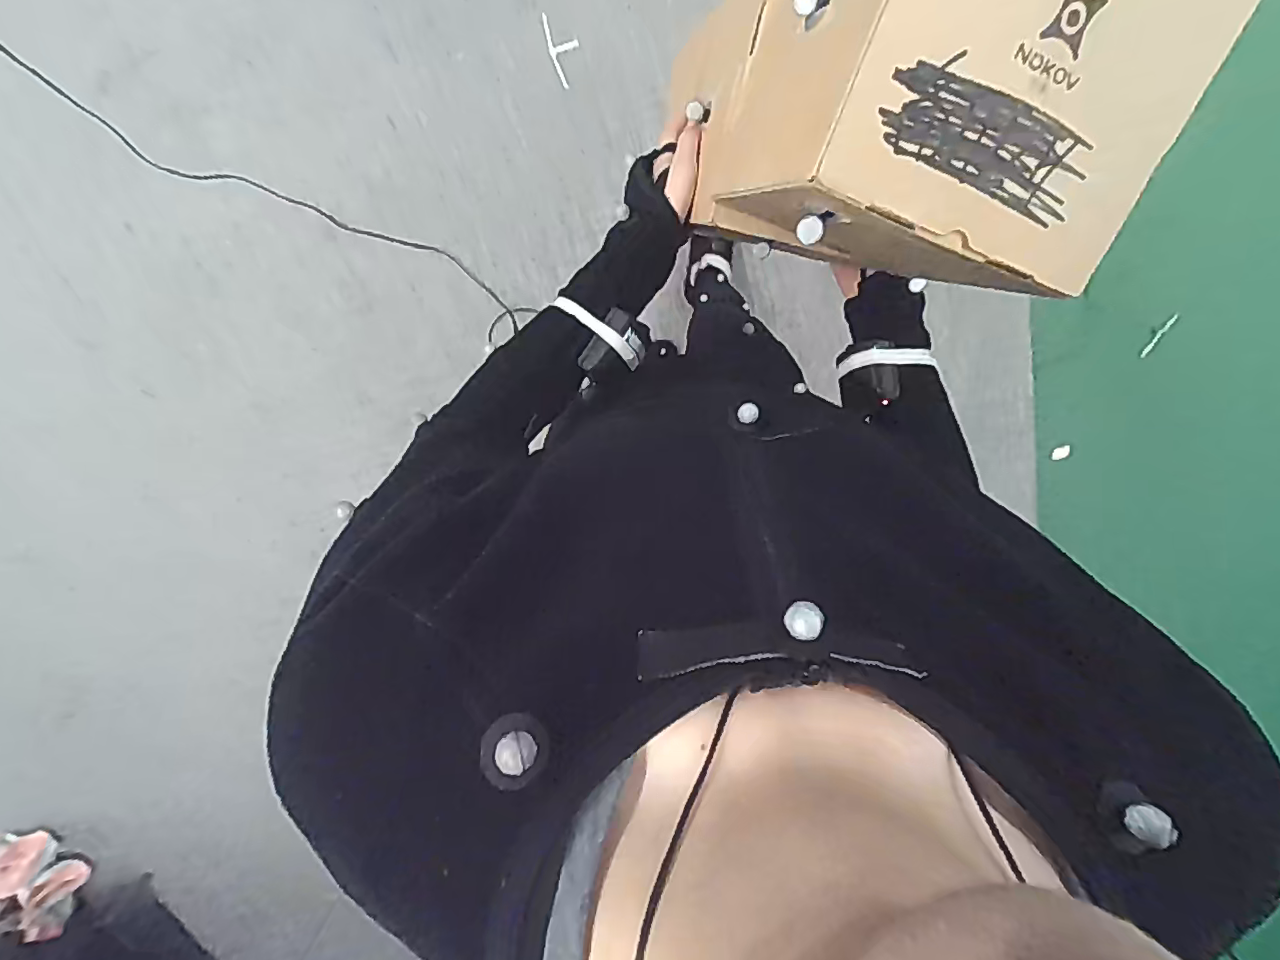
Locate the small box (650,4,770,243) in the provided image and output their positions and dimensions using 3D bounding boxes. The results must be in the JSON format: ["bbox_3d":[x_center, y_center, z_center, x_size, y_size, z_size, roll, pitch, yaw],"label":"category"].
[{"bbox_3d":[0.112,-0.368,0.596,0.168,0.176,0.179,5,115,-11],"label":"small box"}]

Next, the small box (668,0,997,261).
[{"bbox_3d":[0.132,-0.290,0.451,0.179,0.176,0.168,8,114,-12],"label":"small box"}]
